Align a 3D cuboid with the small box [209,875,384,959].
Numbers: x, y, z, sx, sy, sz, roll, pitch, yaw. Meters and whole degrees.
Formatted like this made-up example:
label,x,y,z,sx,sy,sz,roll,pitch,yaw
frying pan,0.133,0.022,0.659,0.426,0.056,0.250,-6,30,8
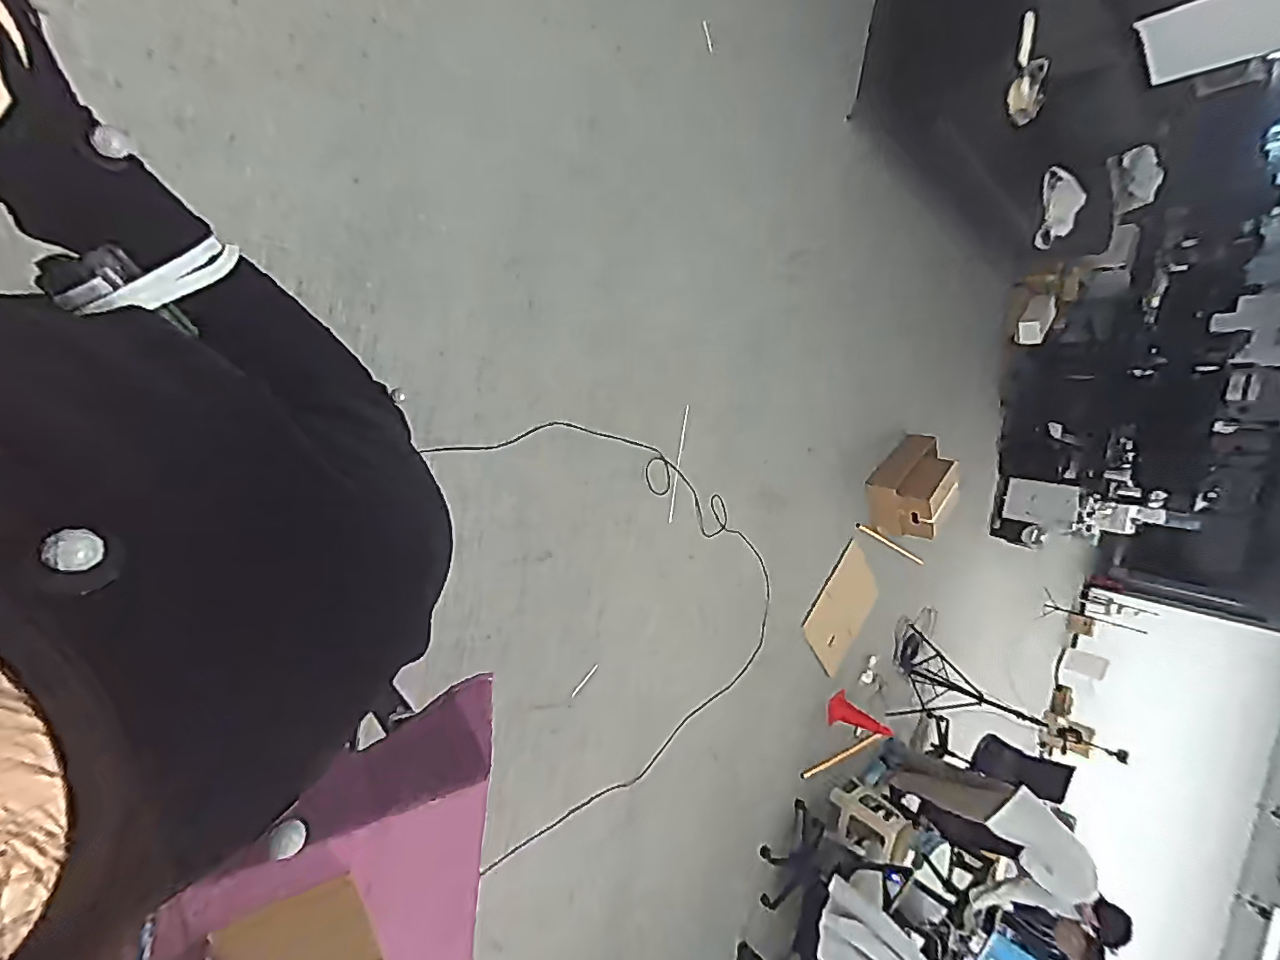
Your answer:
label,x,y,z,sx,sy,sz,roll,pitch,yaw
small box,-0.456,0.681,0.709,0.179,0.176,0.168,1,100,-42
